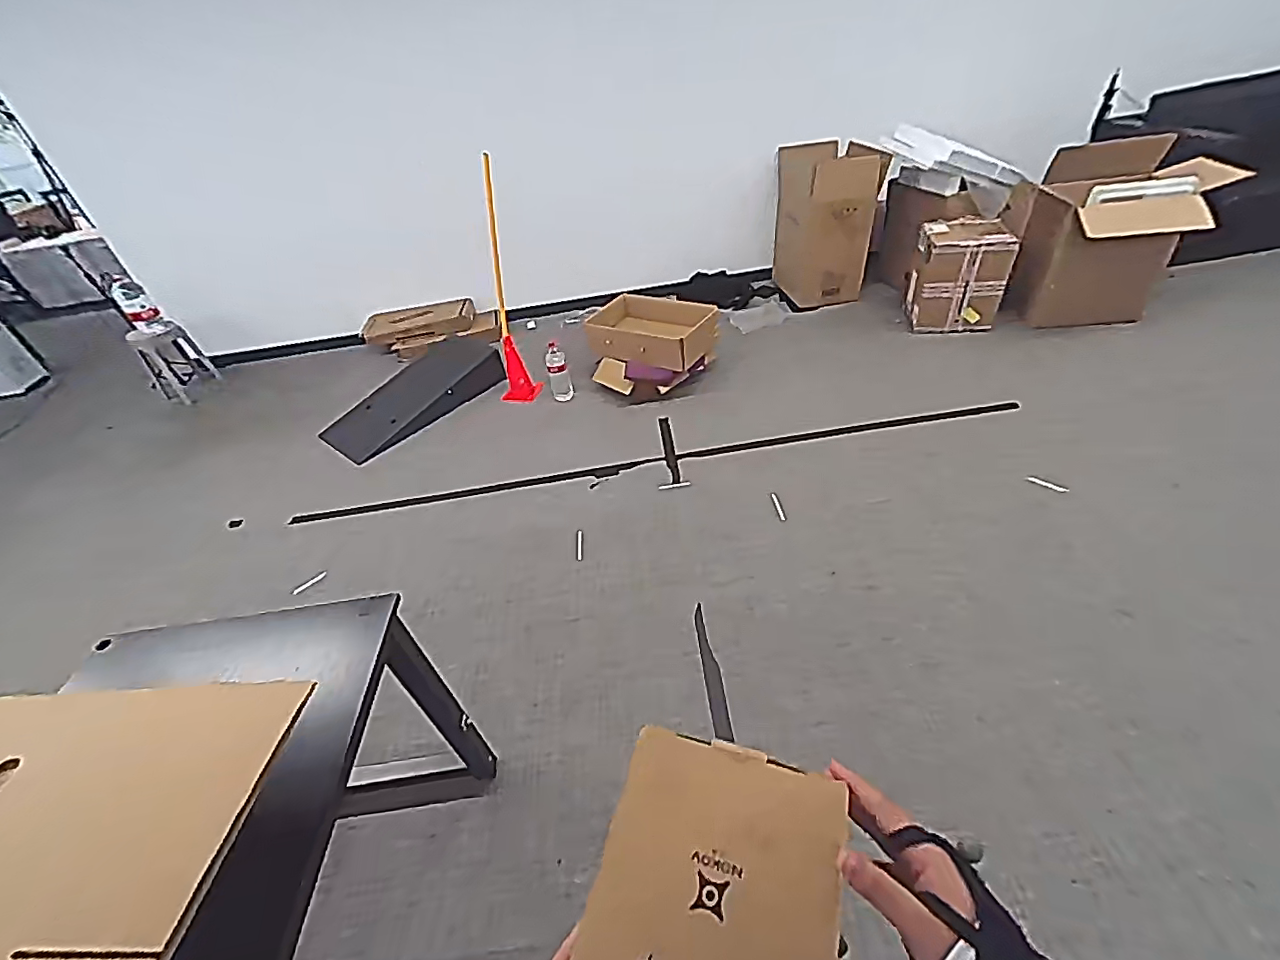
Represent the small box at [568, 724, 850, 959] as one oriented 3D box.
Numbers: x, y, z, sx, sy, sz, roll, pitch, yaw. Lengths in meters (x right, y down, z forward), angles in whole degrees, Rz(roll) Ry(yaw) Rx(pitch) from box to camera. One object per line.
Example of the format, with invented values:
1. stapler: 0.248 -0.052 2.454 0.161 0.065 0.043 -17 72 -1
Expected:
1. small box: 0.066 0.333 0.432 0.168 0.176 0.179 7 48 20
